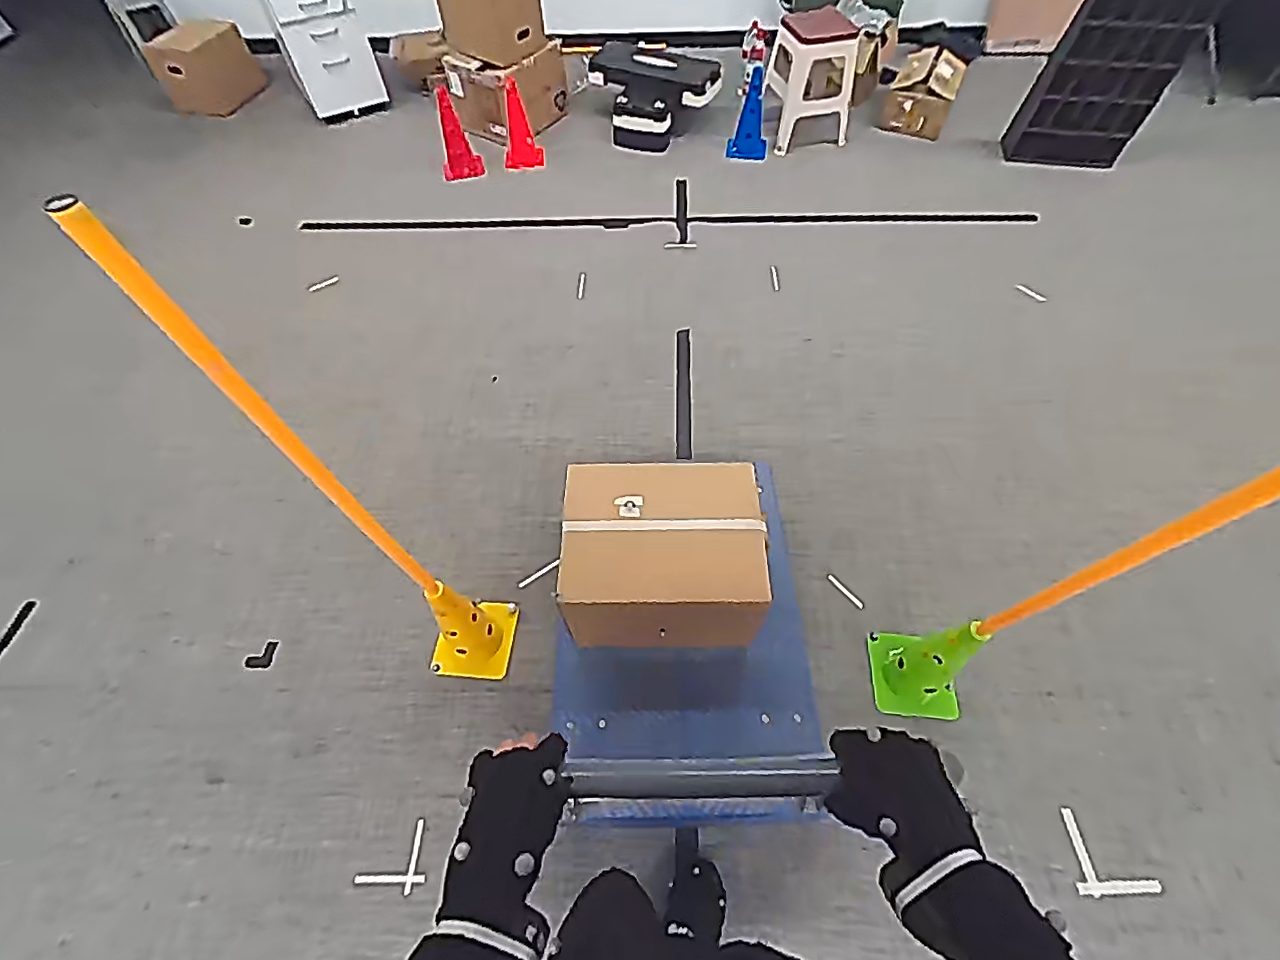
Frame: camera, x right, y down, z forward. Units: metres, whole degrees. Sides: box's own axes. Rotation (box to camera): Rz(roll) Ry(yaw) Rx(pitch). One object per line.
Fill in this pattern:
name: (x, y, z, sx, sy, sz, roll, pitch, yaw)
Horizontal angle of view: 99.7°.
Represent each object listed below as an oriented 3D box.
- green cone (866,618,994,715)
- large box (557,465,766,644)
green cone: (0.689, 0.398, 1.241, 0.202, 0.368, 0.200, 4, 58, 3)
large box: (0.046, 0.181, 1.227, 0.408, 0.320, 0.320, -1, 58, 2)
